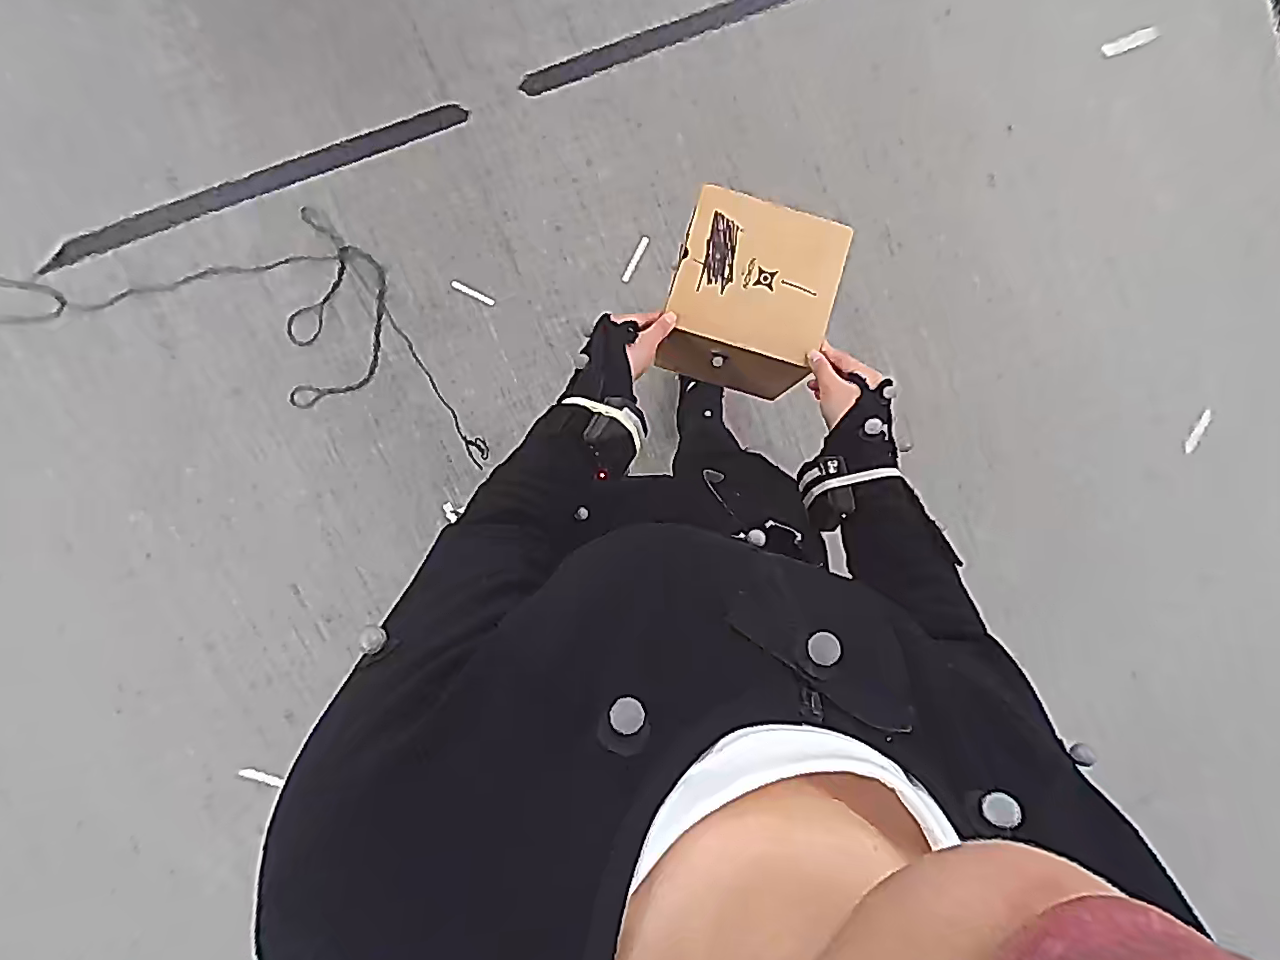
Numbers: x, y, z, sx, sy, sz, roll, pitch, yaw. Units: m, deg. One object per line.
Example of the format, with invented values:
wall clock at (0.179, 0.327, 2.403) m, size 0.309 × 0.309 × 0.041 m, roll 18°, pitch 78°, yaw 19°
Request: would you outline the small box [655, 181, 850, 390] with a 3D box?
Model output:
small box at (0.123, -0.221, 0.663) m, size 0.179 × 0.176 × 0.168 m, roll 16°, pitch 87°, yaw -1°
